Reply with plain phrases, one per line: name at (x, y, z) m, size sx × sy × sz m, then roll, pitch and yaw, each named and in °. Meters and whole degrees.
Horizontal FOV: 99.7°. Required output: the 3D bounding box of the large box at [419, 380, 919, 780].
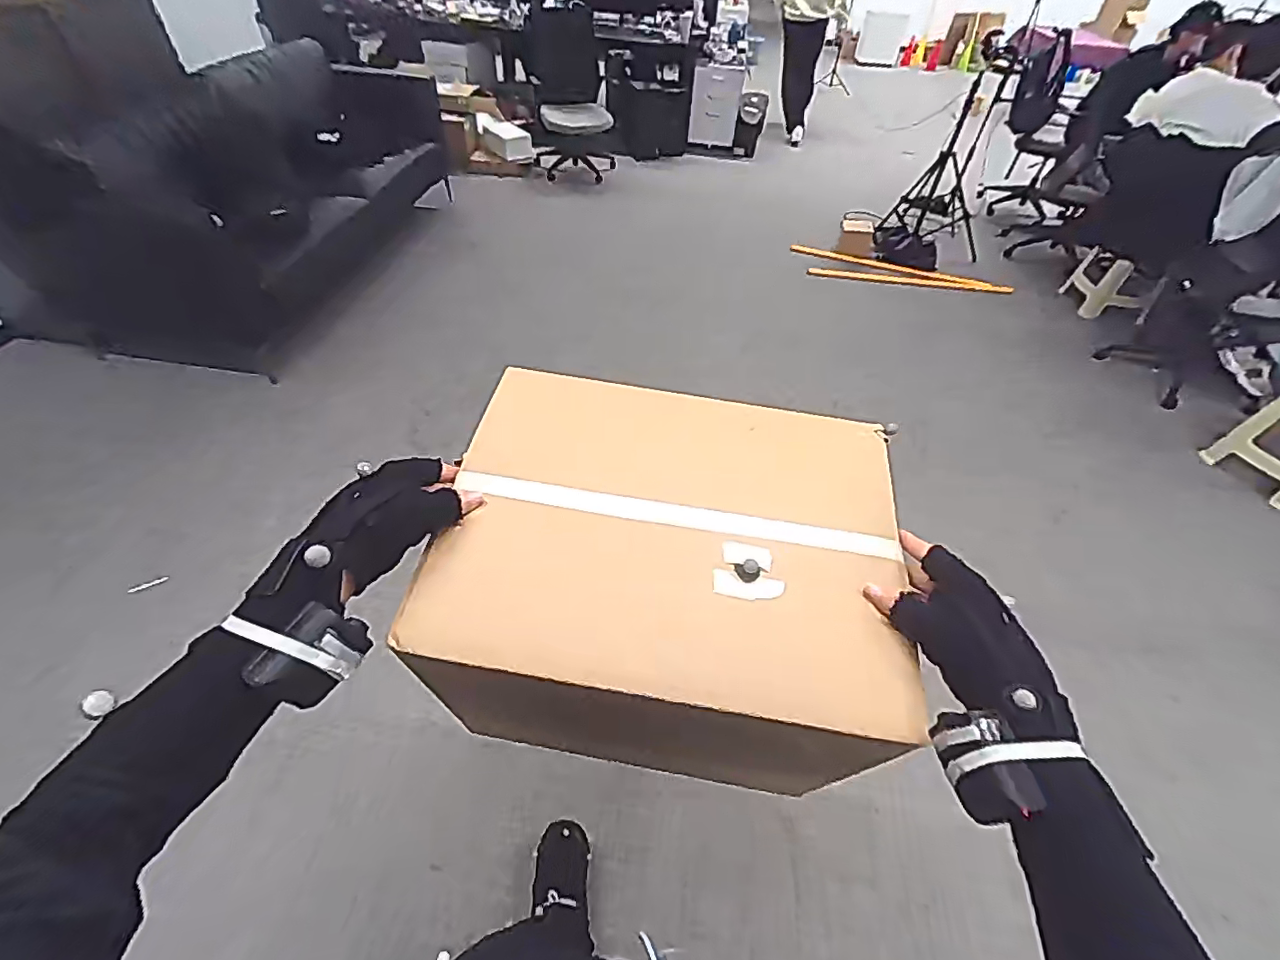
large box at (0.028, 0.125, 0.624) m, size 0.408 × 0.320 × 0.320 m, roll 9°, pitch 54°, yaw 2°
